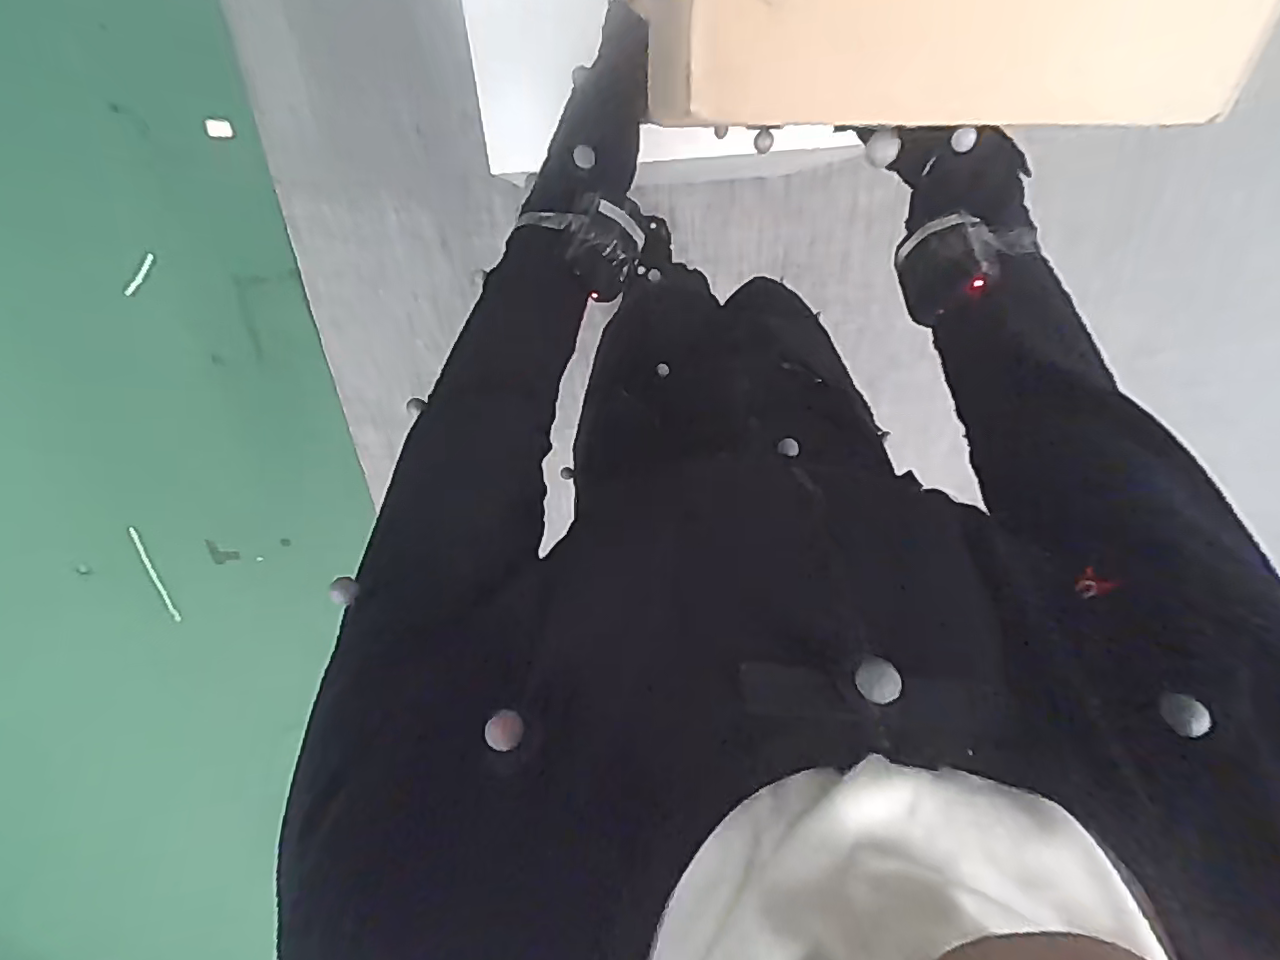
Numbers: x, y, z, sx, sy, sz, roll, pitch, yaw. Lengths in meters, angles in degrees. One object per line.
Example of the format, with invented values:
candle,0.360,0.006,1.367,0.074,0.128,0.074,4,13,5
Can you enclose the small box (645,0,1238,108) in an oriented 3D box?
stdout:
small box,0.092,-0.236,0.195,0.179,0.176,0.168,-2,125,-2

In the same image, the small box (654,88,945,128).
small box,0.091,-0.327,0.334,0.168,0.176,0.179,-5,124,0

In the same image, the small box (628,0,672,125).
small box,0.077,-0.410,0.471,0.179,0.176,0.168,-3,123,-1
